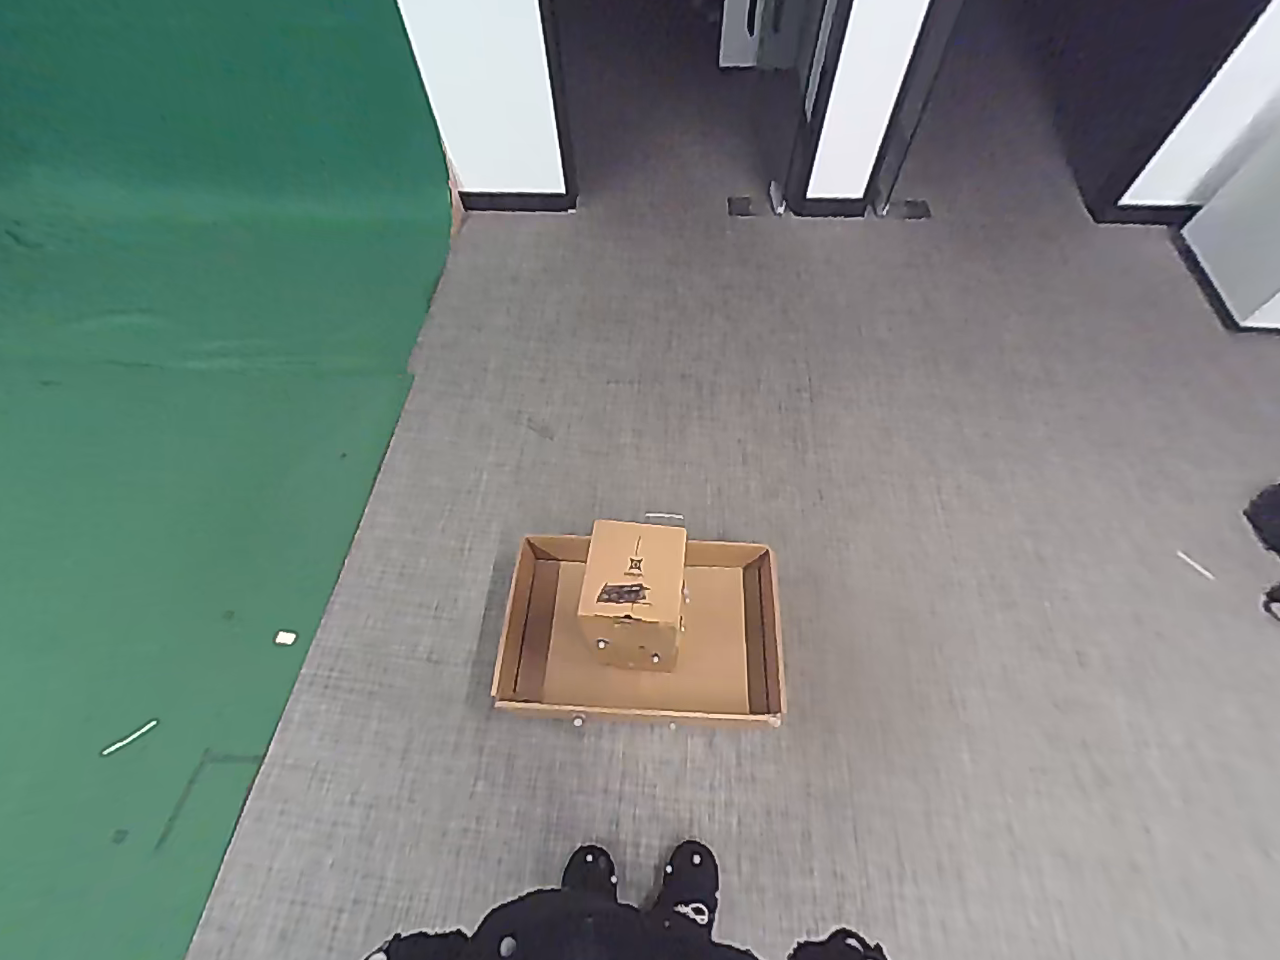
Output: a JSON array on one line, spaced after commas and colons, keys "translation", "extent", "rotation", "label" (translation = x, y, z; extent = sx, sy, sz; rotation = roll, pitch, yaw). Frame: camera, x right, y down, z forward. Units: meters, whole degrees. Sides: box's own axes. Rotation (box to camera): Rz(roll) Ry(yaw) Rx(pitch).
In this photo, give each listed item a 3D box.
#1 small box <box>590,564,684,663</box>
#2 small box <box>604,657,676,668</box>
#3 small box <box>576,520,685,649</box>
[{"translation": [-0.003, 0.270, 1.106], "extent": [0.179, 0.176, 0.168], "rotation": [2, 59, 2], "label": "small box"}, {"translation": [0.000, 0.341, 1.275], "extent": [0.179, 0.176, 0.168], "rotation": [1, 58, 2], "label": "small box"}, {"translation": [-0.010, 0.194, 0.979], "extent": [0.168, 0.176, 0.179], "rotation": [6, 57, 5], "label": "small box"}]
